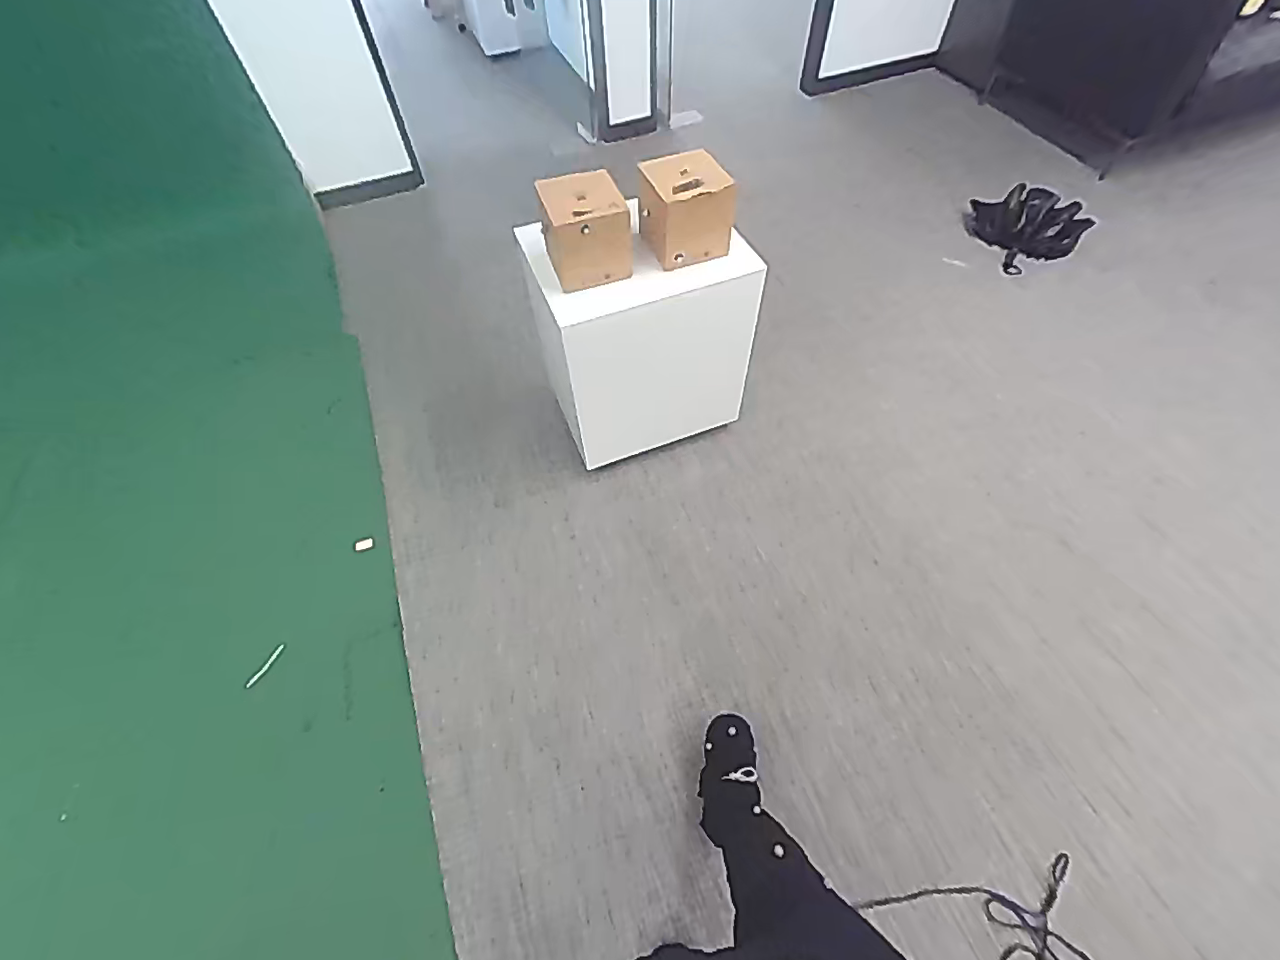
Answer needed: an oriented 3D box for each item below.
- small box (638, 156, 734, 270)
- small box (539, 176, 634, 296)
[{"bbox_3d":[0.104,-0.612,1.256,0.168,0.176,0.179,-18,57,-9],"label":"small box"},{"bbox_3d":[-0.119,-0.549,1.223,0.168,0.176,0.179,-18,57,-8],"label":"small box"}]
